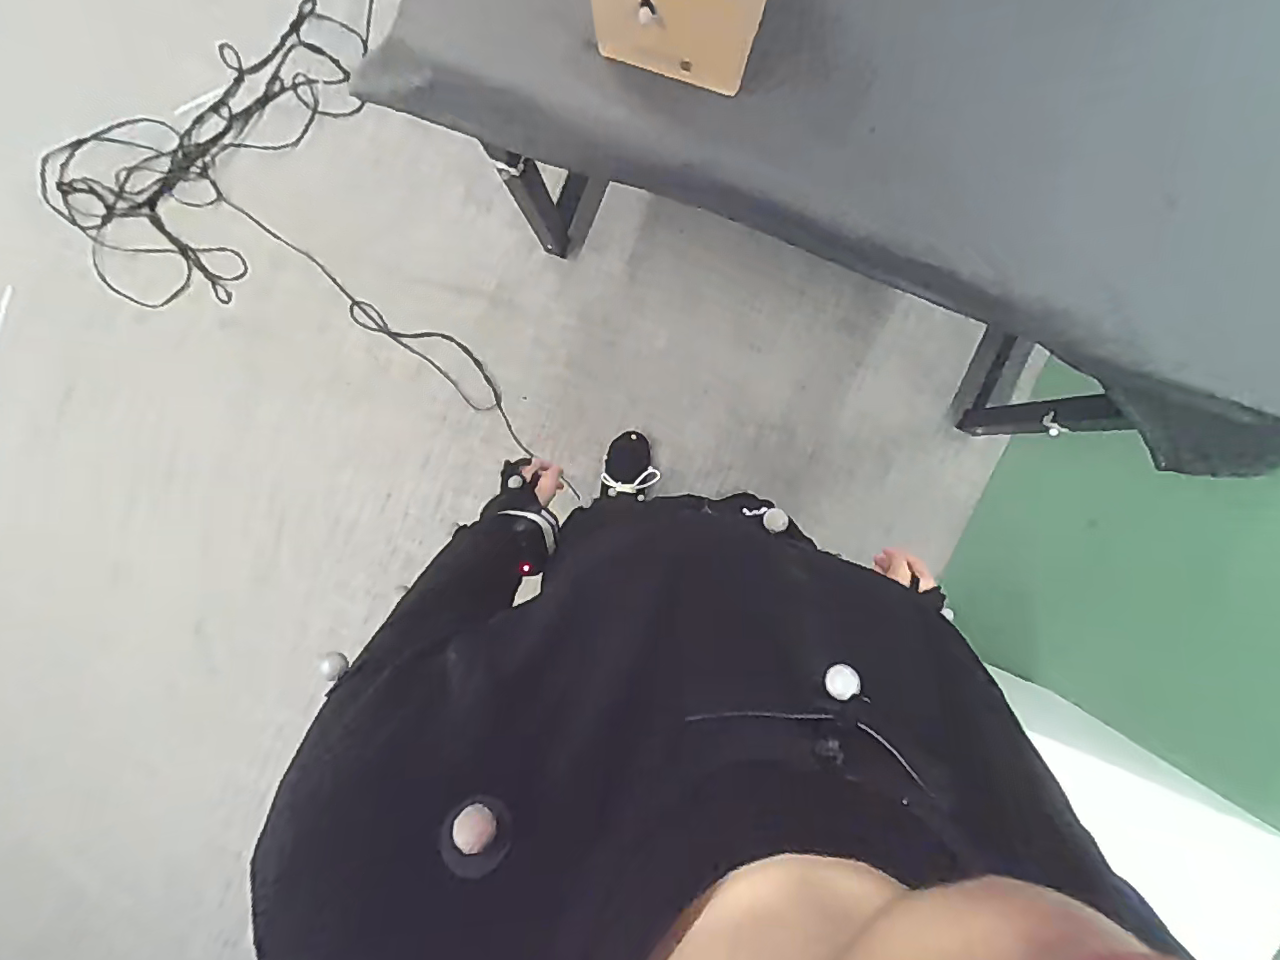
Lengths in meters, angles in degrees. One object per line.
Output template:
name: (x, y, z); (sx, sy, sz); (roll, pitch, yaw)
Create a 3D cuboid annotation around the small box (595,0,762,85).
small box: (0.053, -0.545, 0.535); (0.168, 0.176, 0.179); (18, 93, 0)
